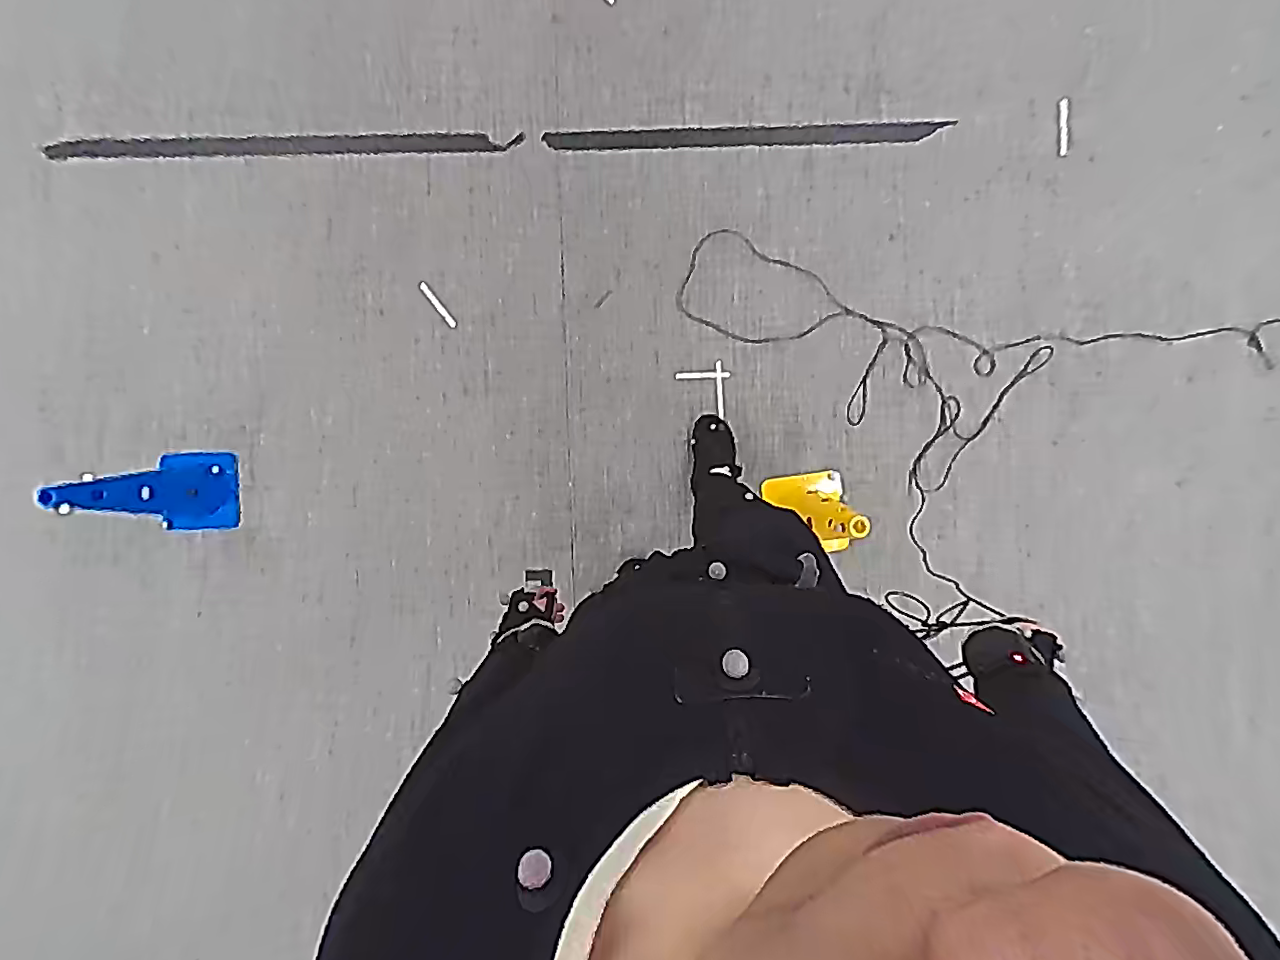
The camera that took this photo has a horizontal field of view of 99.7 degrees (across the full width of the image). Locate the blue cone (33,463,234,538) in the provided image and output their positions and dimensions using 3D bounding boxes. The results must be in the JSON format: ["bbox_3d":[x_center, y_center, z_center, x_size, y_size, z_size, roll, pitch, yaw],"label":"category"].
[{"bbox_3d":[-1.132,0.056,1.209,0.193,0.380,0.192,0,91,1],"label":"blue cone"}]
